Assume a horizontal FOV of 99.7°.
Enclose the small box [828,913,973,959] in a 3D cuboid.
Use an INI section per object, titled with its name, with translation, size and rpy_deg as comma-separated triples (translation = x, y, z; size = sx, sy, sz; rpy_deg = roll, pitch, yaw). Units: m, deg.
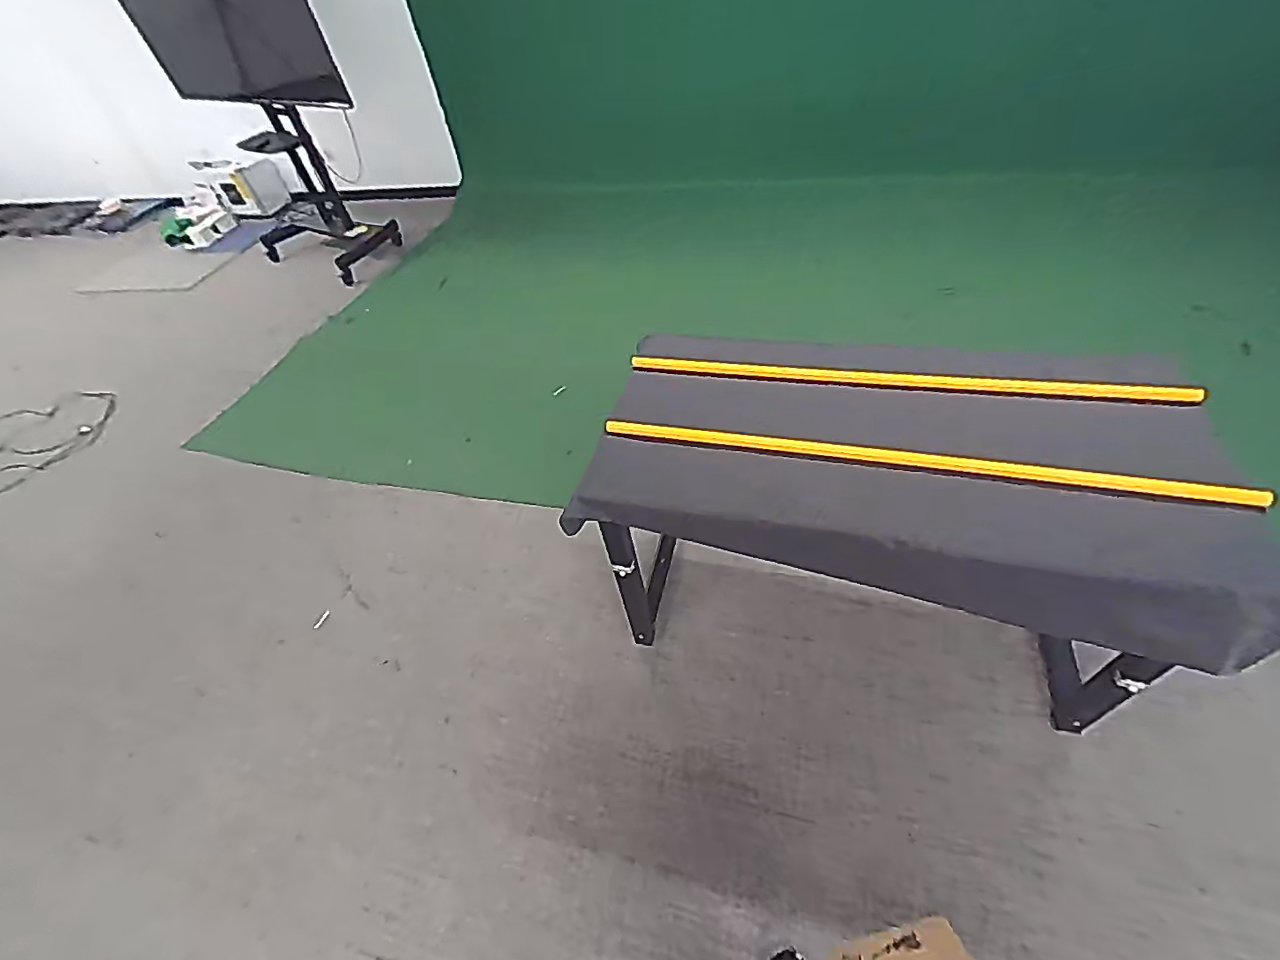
[small box]
translation = 0.356, 0.687, 0.642
size = 0.168, 0.176, 0.179
rpy_deg = -19, 6, -1
